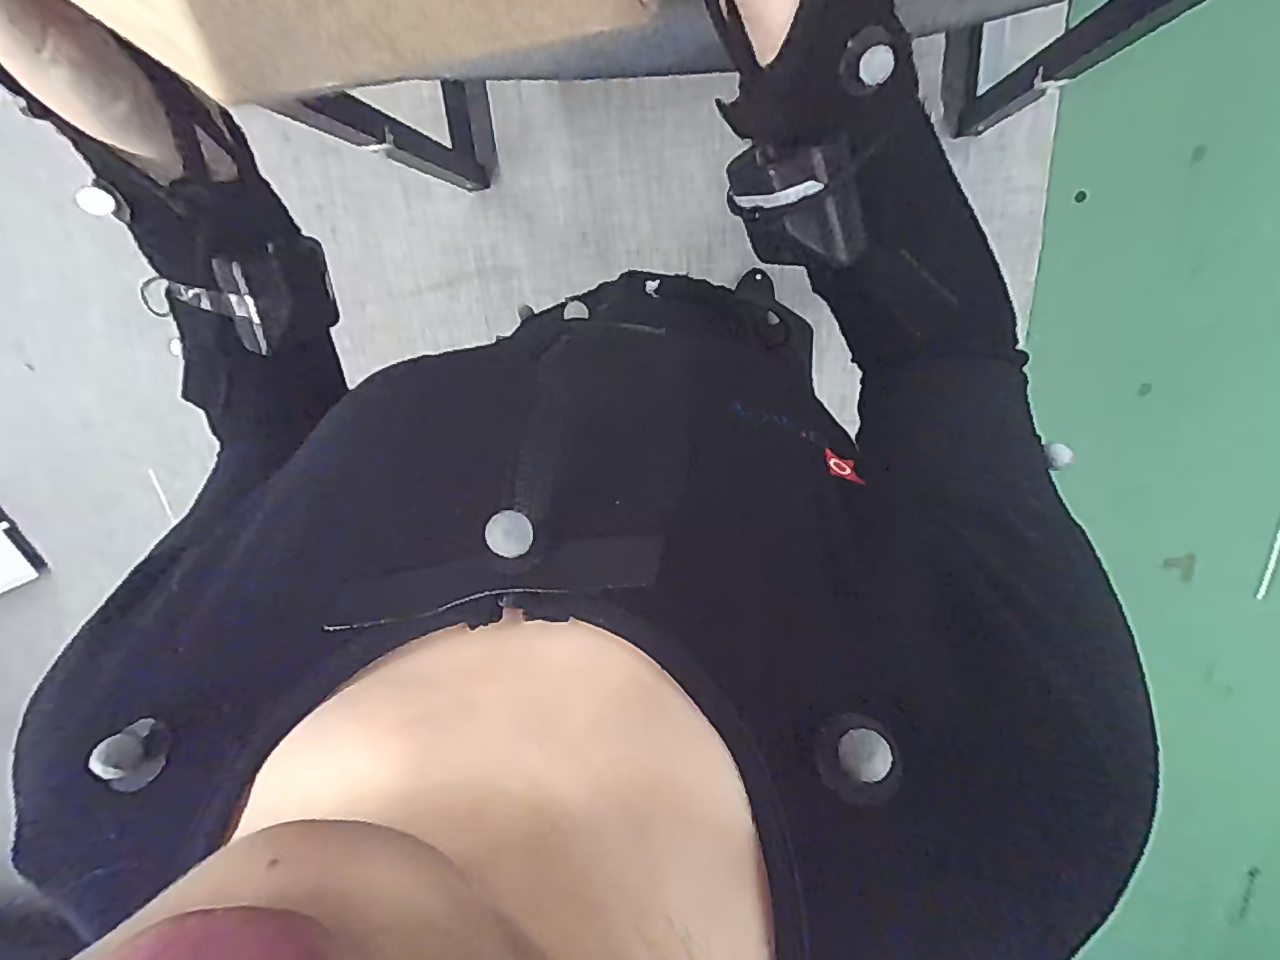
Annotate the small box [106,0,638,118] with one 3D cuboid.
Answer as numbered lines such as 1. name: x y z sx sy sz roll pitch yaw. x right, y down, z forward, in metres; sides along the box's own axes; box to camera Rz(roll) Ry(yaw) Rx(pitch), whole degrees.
1. small box: -0.099 -0.232 0.142 0.176 0.179 0.168 35 148 14
